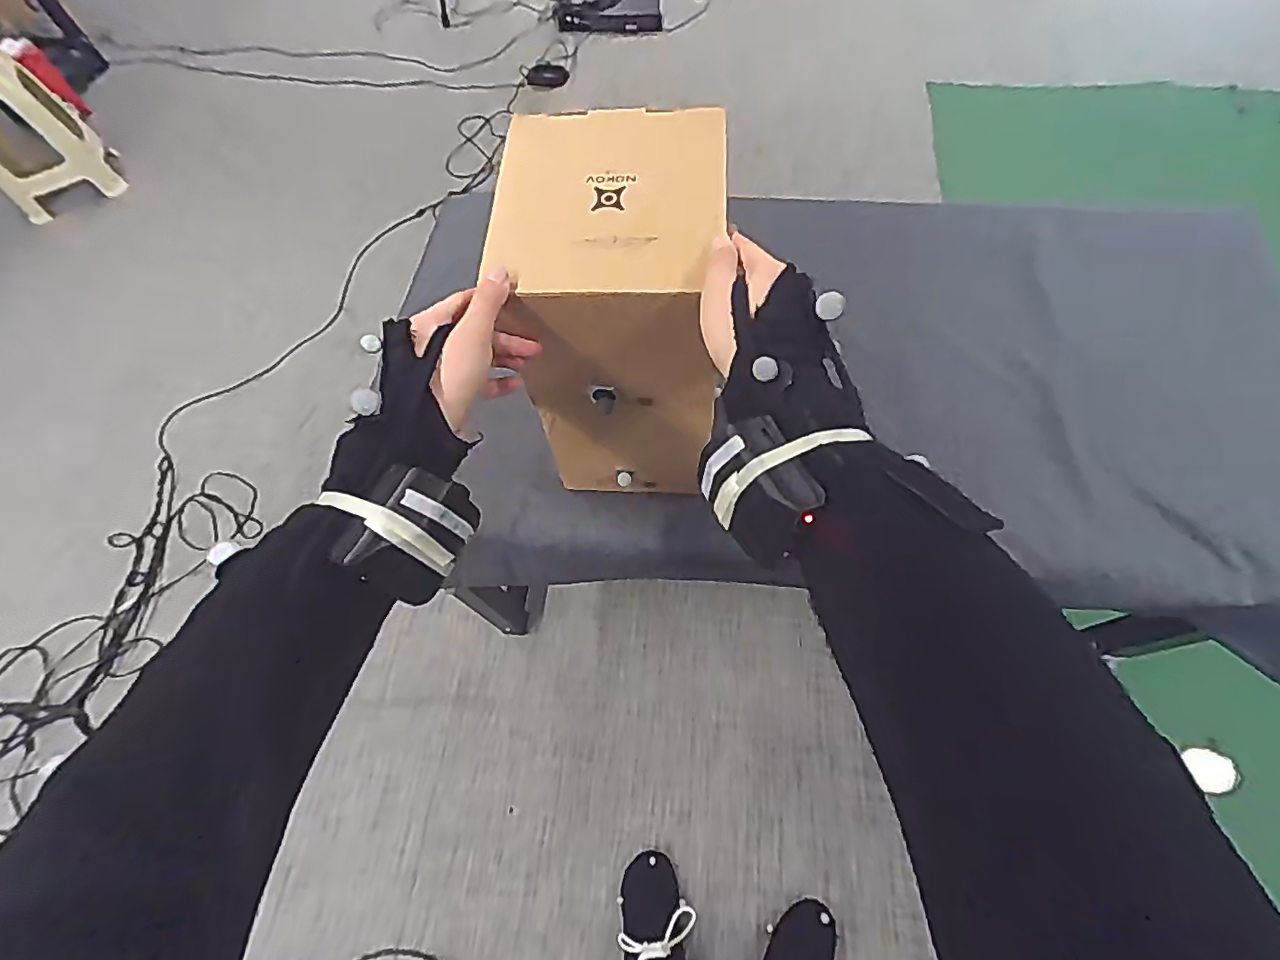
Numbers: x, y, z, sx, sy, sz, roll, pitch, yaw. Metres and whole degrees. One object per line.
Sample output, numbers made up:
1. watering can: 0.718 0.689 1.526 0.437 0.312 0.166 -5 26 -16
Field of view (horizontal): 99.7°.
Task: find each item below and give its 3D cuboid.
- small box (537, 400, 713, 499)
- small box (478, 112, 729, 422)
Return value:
1. small box: -0.007 -0.095 0.604 0.168 0.176 0.179 2 63 4
2. small box: -0.017 -0.165 0.451 0.168 0.176 0.179 0 68 5
